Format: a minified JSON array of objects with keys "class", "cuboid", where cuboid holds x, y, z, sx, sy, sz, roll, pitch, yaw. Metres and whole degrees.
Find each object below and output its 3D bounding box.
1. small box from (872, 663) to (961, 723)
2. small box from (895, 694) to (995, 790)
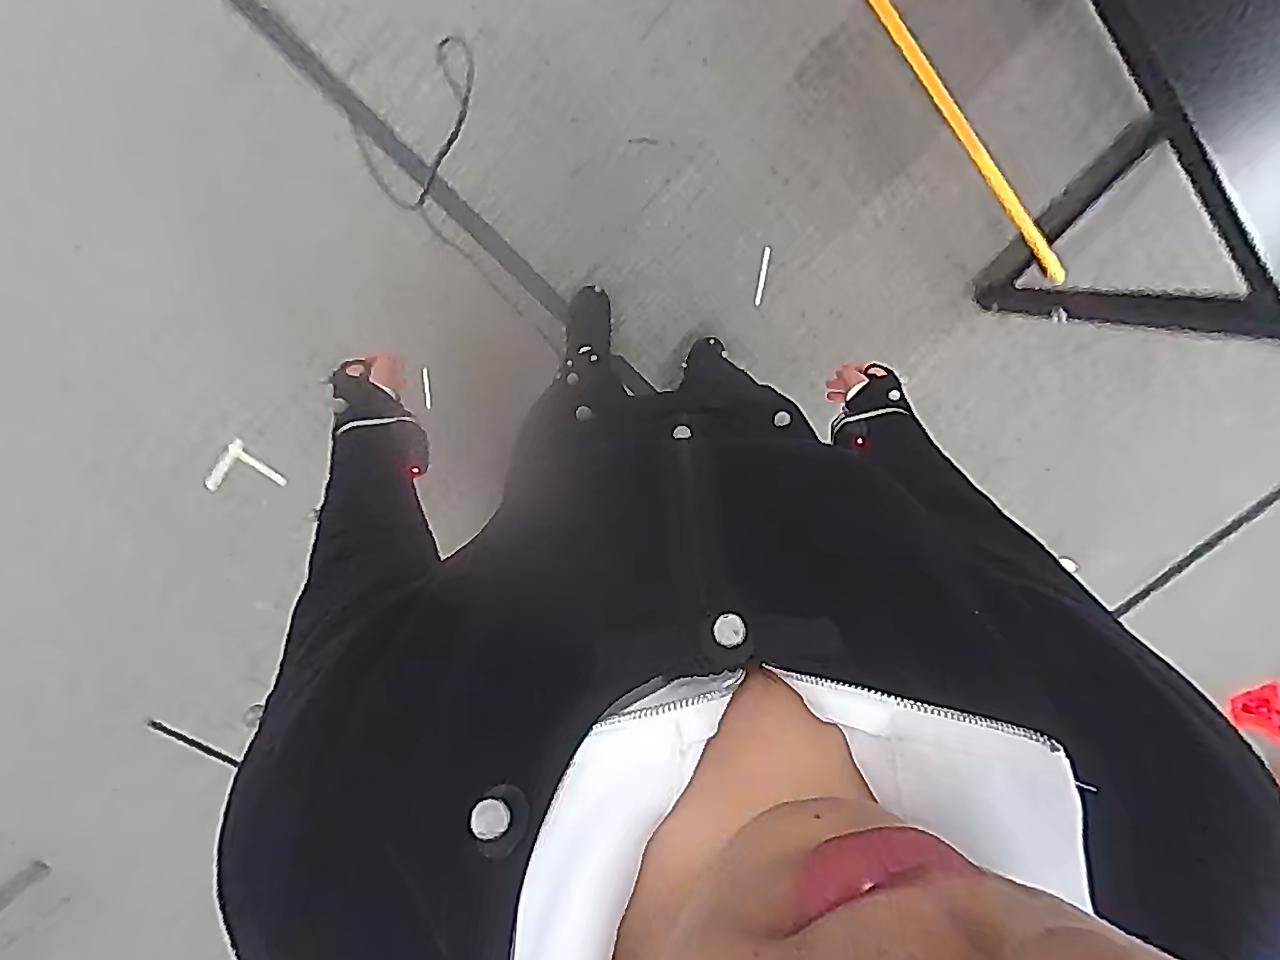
[{"class":"small box","cuboid":[0.926,0.749,1.827,0.179,0.176,0.168,40,104,-17]},{"class":"small box","cuboid":[0.934,0.803,1.670,0.179,0.176,0.168,42,103,-17]}]
